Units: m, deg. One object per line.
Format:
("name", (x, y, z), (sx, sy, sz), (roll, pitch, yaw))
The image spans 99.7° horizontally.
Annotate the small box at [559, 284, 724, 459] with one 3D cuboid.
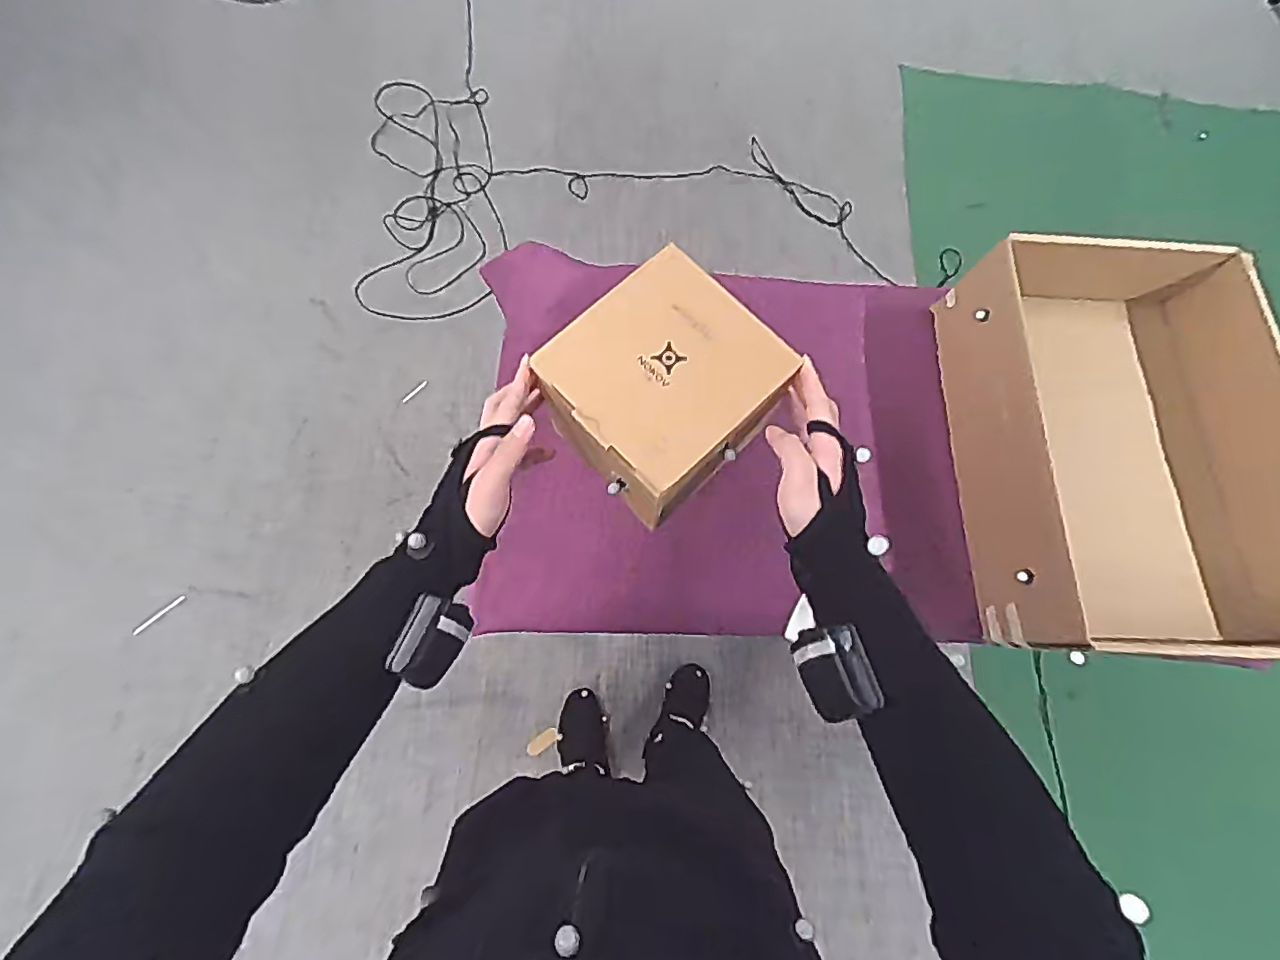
("small box", (-0.002, -0.152, 0.828), (0.179, 0.176, 0.168), (43, 73, 9))
